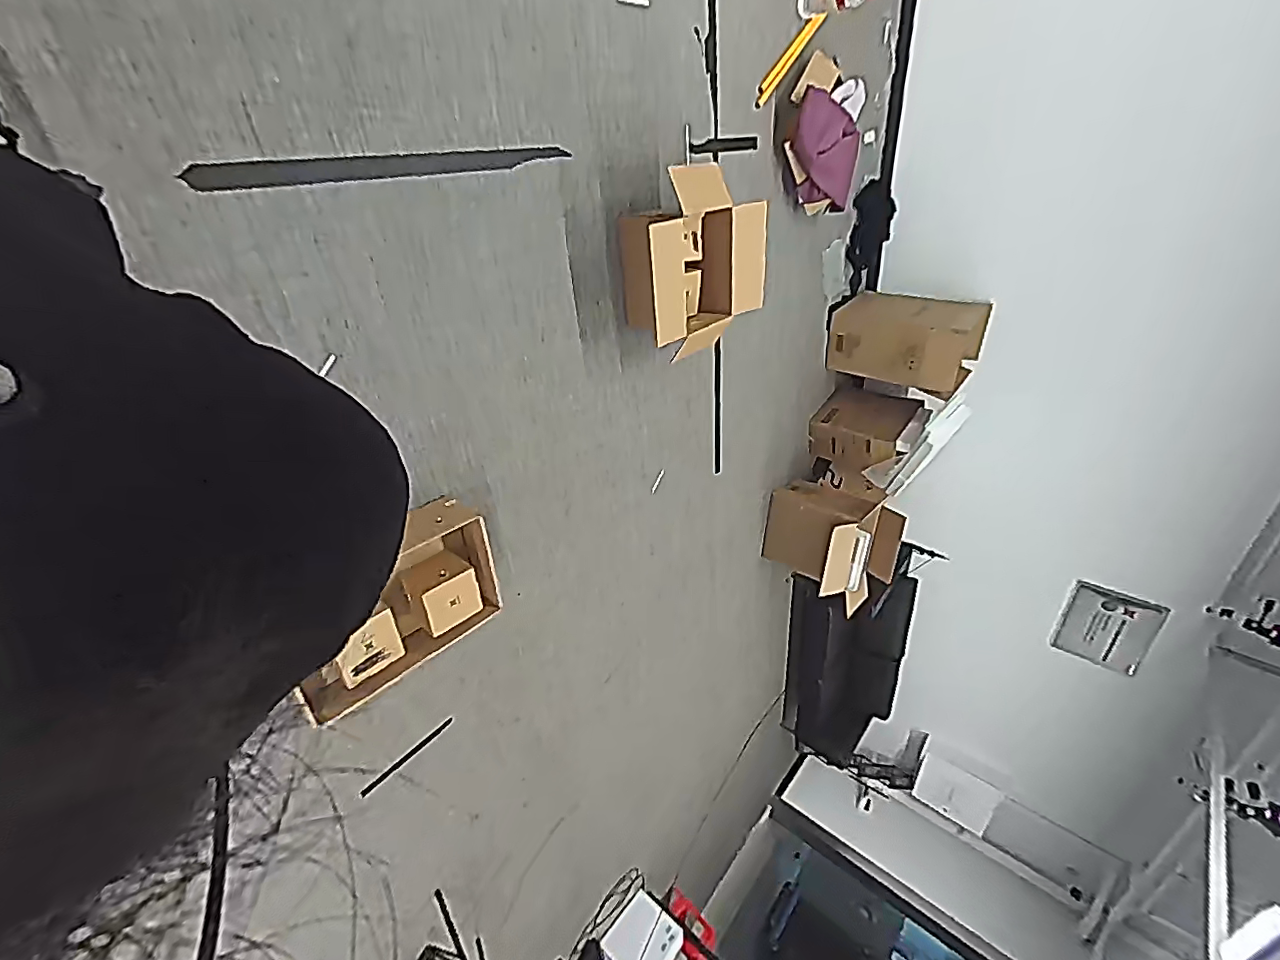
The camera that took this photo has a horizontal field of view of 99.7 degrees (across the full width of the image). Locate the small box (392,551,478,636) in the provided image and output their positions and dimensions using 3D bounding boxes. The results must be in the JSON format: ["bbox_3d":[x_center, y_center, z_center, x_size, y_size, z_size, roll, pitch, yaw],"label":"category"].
[{"bbox_3d":[-0.643,0.347,1.700,0.179,0.176,0.168,-29,126,-40],"label":"small box"}]
